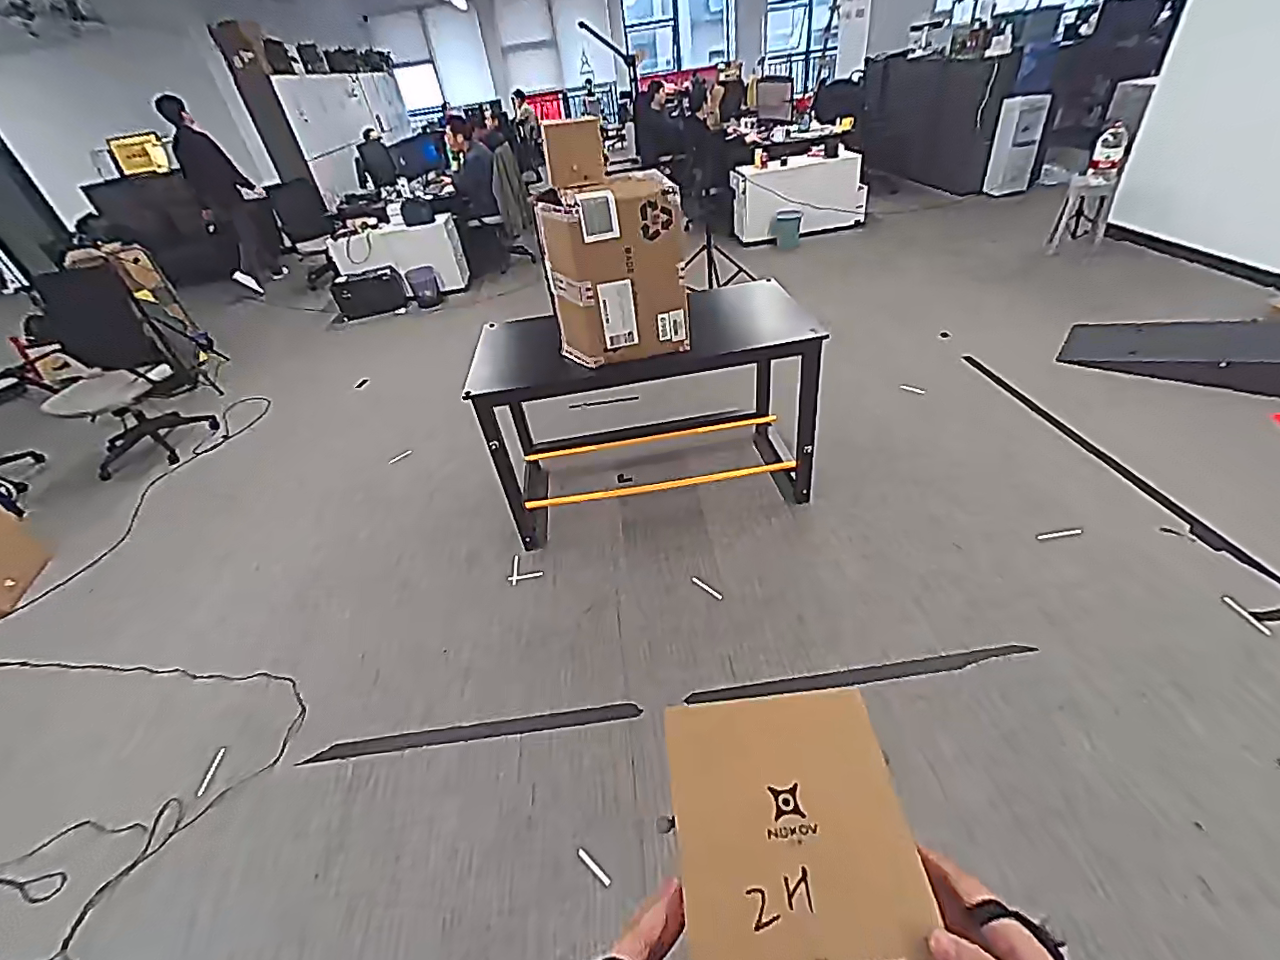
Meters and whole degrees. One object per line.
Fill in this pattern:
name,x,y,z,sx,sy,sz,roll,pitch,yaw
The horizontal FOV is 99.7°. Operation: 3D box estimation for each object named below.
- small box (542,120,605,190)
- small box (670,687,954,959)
small box,-0.208,-1.008,1.677,0.168,0.176,0.179,-11,36,-6
small box,0.115,0.298,0.451,0.168,0.176,0.179,-7,46,1
